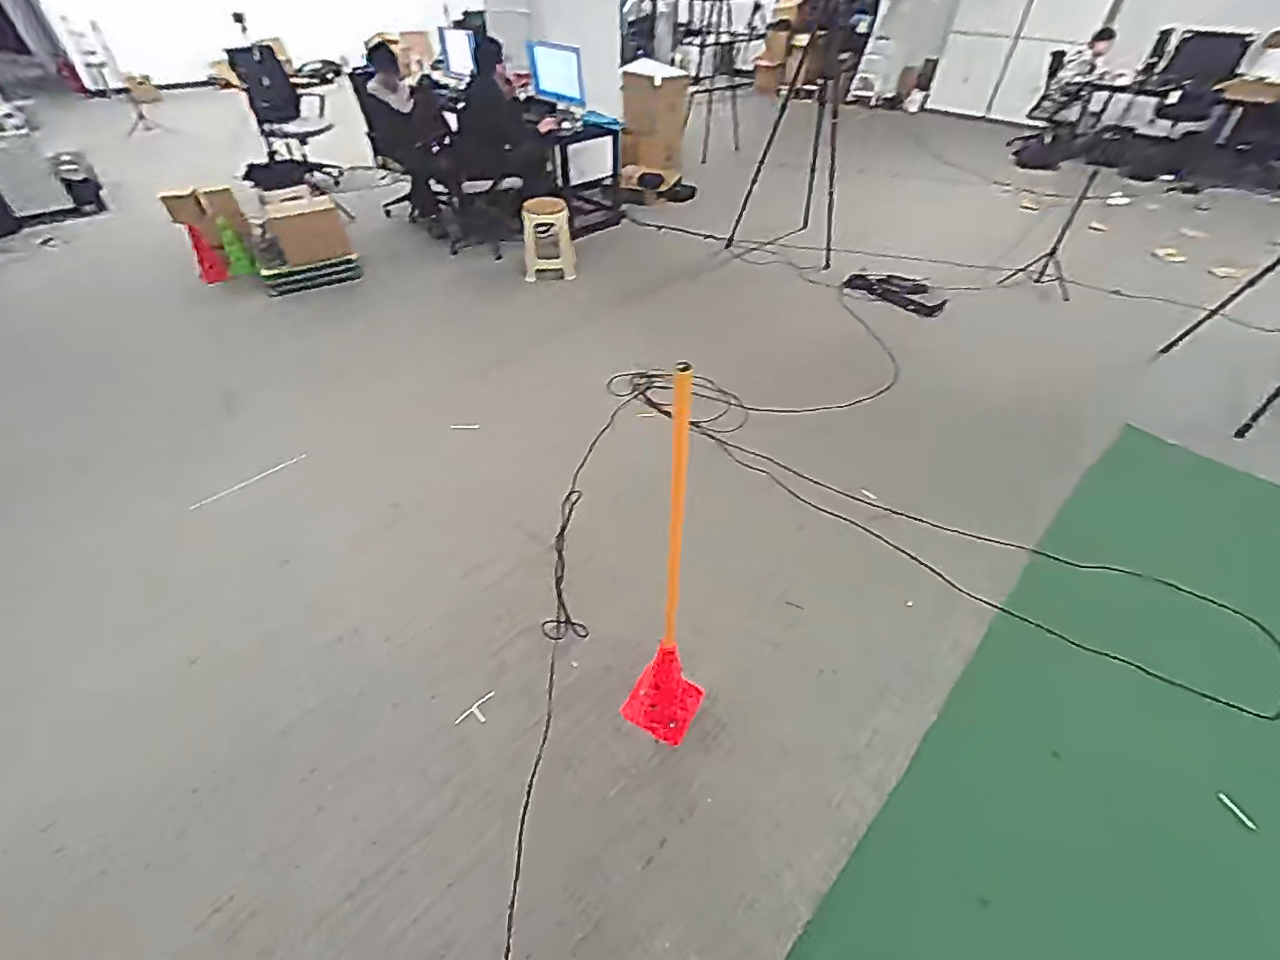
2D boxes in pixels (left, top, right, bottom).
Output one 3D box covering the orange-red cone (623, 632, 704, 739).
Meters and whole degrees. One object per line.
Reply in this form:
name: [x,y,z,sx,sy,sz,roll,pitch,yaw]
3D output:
orange-red cone: [0.078,0.535,1.525,0.198,0.360,0.199,23,47,20]
